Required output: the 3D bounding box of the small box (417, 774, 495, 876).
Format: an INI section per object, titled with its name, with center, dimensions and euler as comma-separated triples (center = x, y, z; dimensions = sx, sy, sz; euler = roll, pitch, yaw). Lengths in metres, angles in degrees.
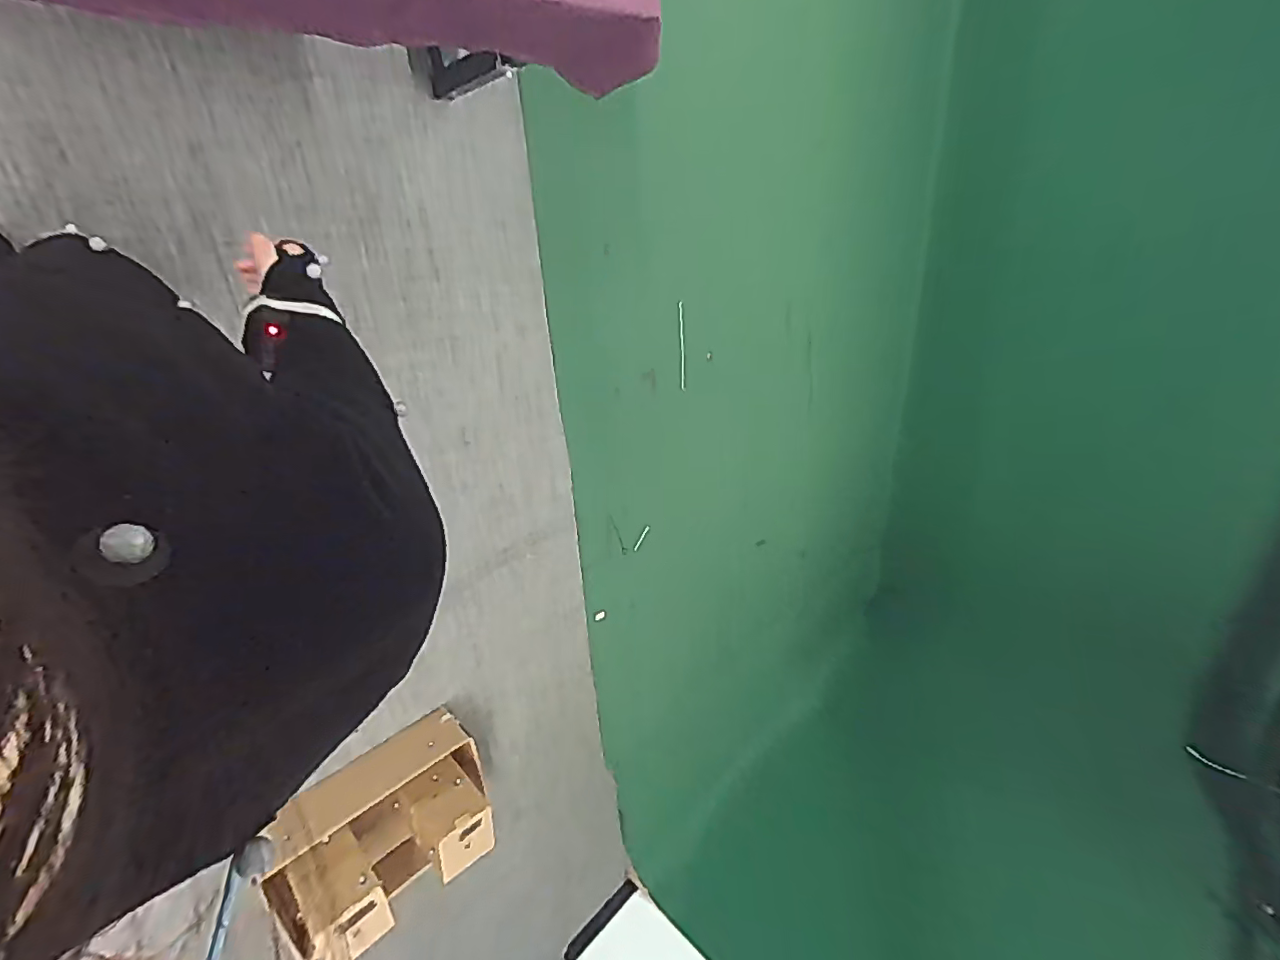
[small box]
center = -0.564, 1.036, 1.649
dimensions = 0.168, 0.176, 0.179
euler = -18, 118, -41
